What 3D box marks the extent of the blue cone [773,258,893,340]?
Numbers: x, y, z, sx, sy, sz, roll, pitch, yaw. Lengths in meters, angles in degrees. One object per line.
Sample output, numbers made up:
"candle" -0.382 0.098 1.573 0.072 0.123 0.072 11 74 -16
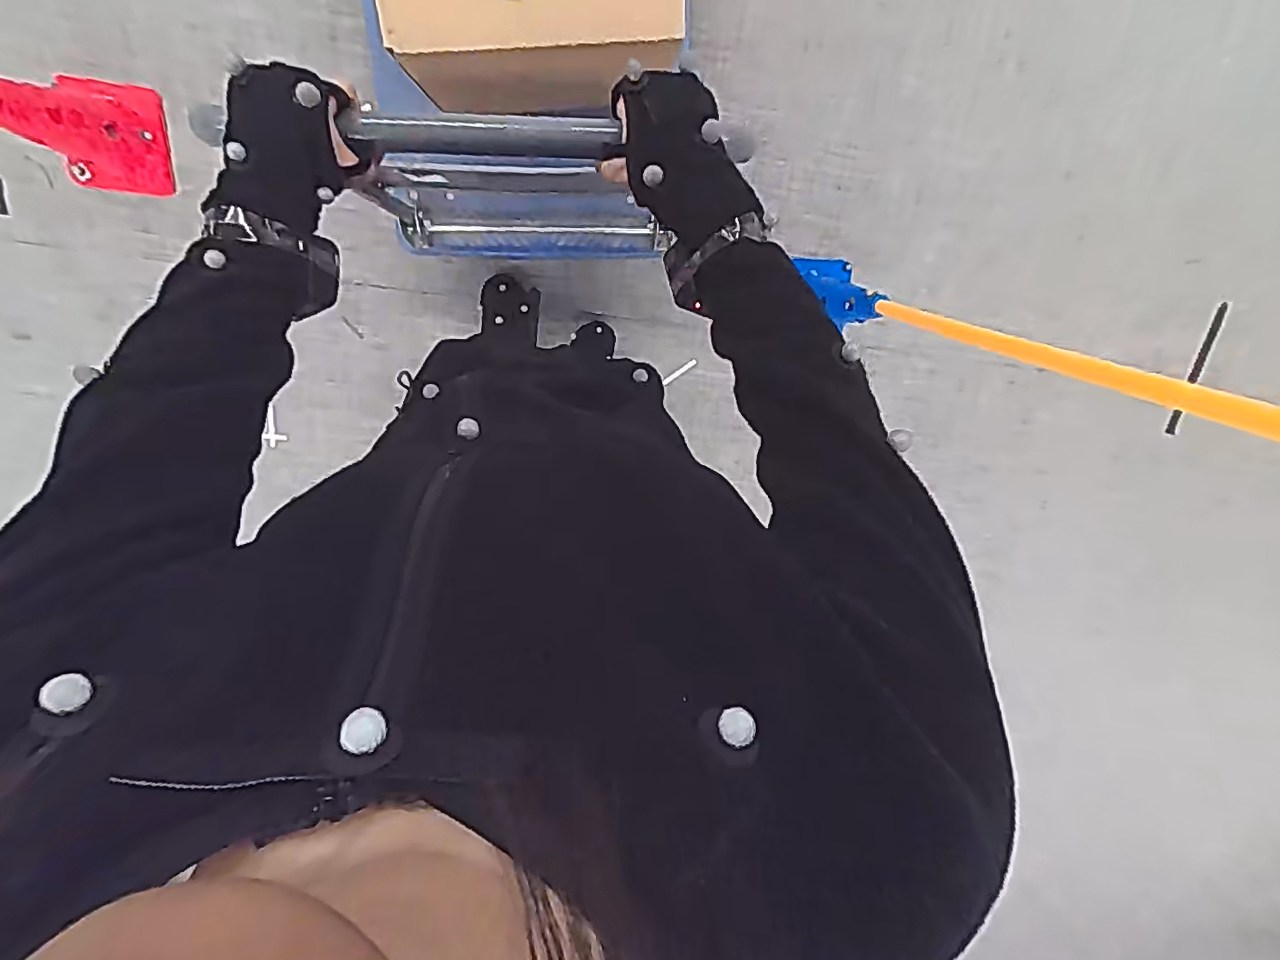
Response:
"blue cone" 0.443 -0.397 1.197 0.193 0.380 0.192 2 109 -7
